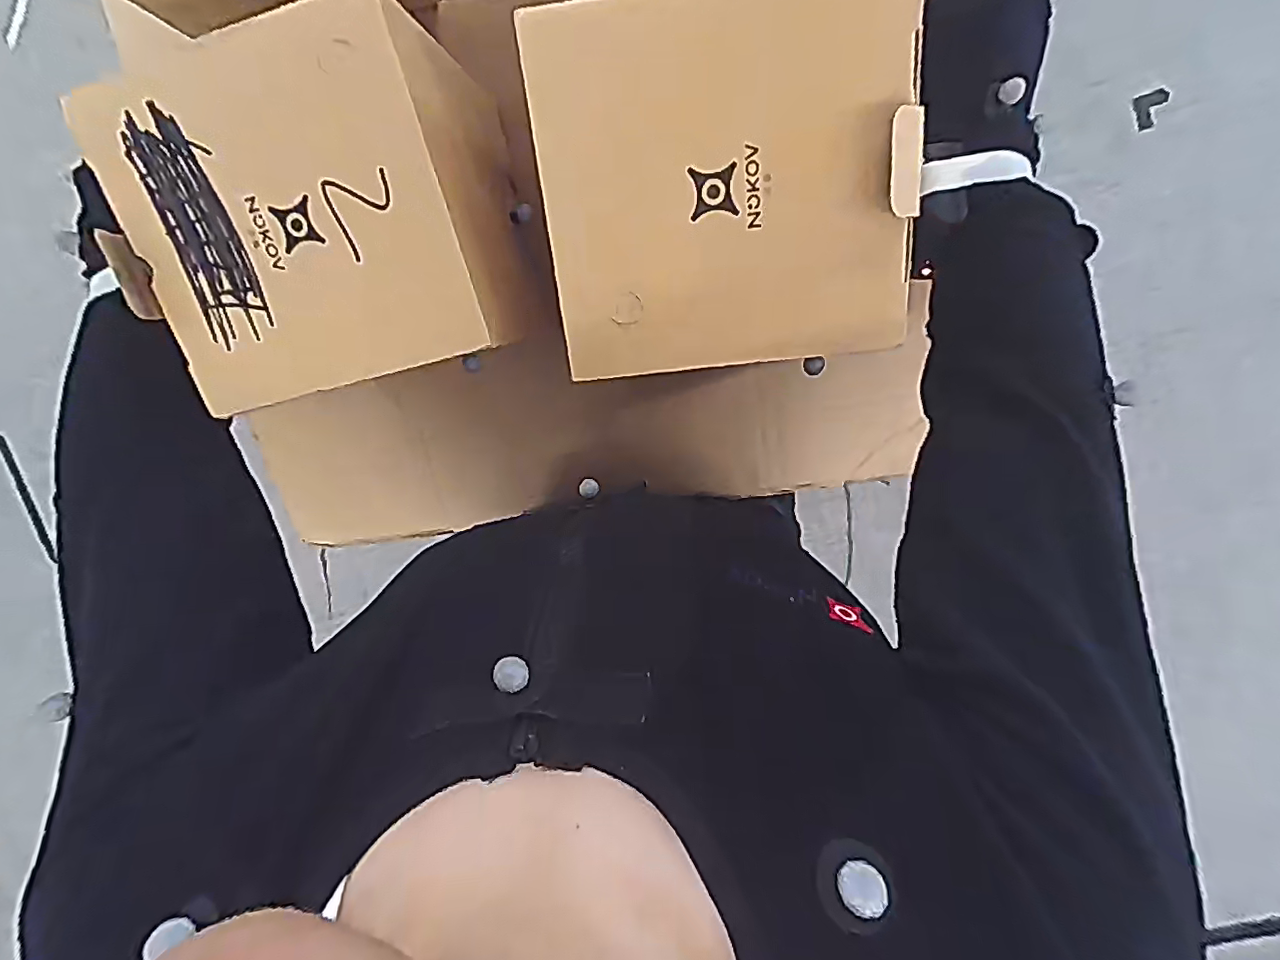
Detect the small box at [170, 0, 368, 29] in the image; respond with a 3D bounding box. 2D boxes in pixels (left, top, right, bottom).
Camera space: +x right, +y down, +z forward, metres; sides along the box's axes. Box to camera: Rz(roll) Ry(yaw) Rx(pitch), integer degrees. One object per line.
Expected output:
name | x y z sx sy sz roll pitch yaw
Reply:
small box | -0.249 -0.393 0.295 0.168 0.176 0.179 -9 103 8
